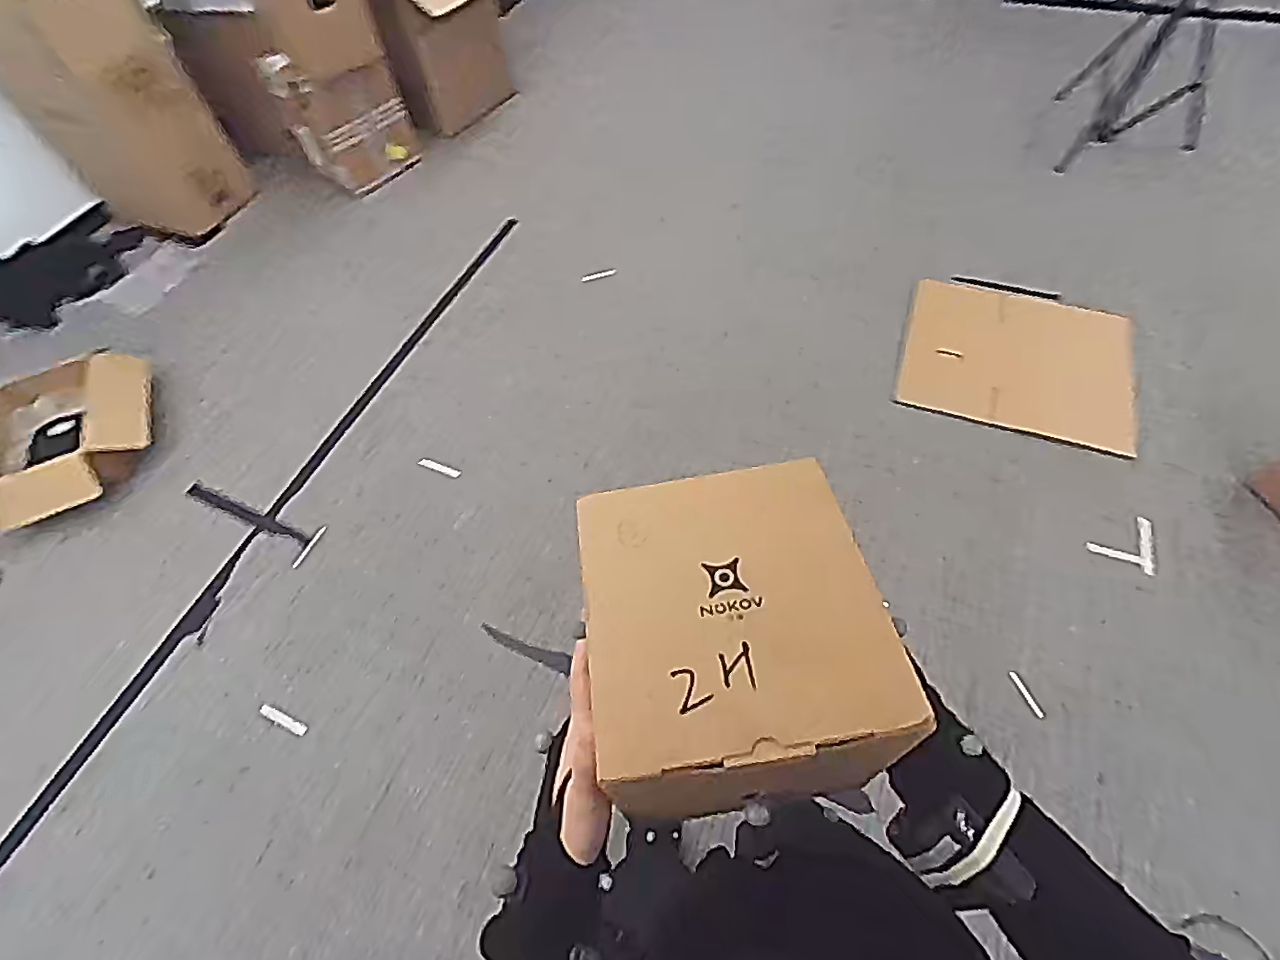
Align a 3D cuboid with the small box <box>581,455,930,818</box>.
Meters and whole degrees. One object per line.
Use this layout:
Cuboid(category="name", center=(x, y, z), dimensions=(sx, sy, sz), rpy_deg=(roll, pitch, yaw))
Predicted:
Cuboid(category="small box", center=(0.056, 0.110, 0.372), dimensions=(0.168, 0.176, 0.179), rpy_deg=(-9, 51, 0))
